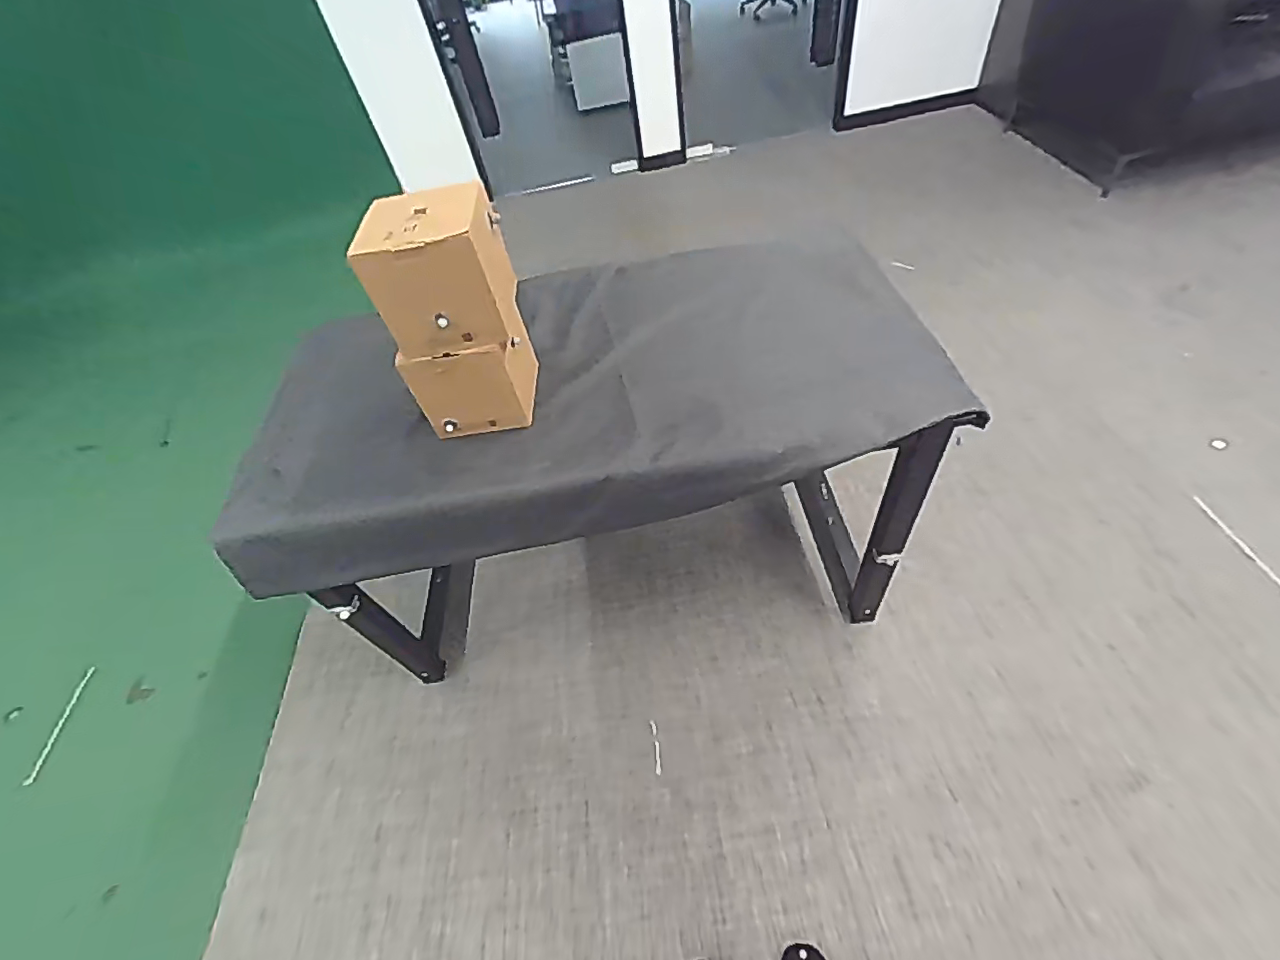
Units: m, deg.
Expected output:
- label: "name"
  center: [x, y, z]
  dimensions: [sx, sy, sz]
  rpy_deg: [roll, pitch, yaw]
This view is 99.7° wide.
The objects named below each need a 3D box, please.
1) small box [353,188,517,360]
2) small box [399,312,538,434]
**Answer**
- label: "small box"
  center: [-0.291, -0.307, 0.815]
  dimensions: [0.168, 0.176, 0.179]
  rpy_deg: [-10, 49, 3]
- label: "small box"
  center: [-0.282, -0.193, 0.935]
  dimensions: [0.168, 0.176, 0.179]
  rpy_deg: [-7, 49, 4]
